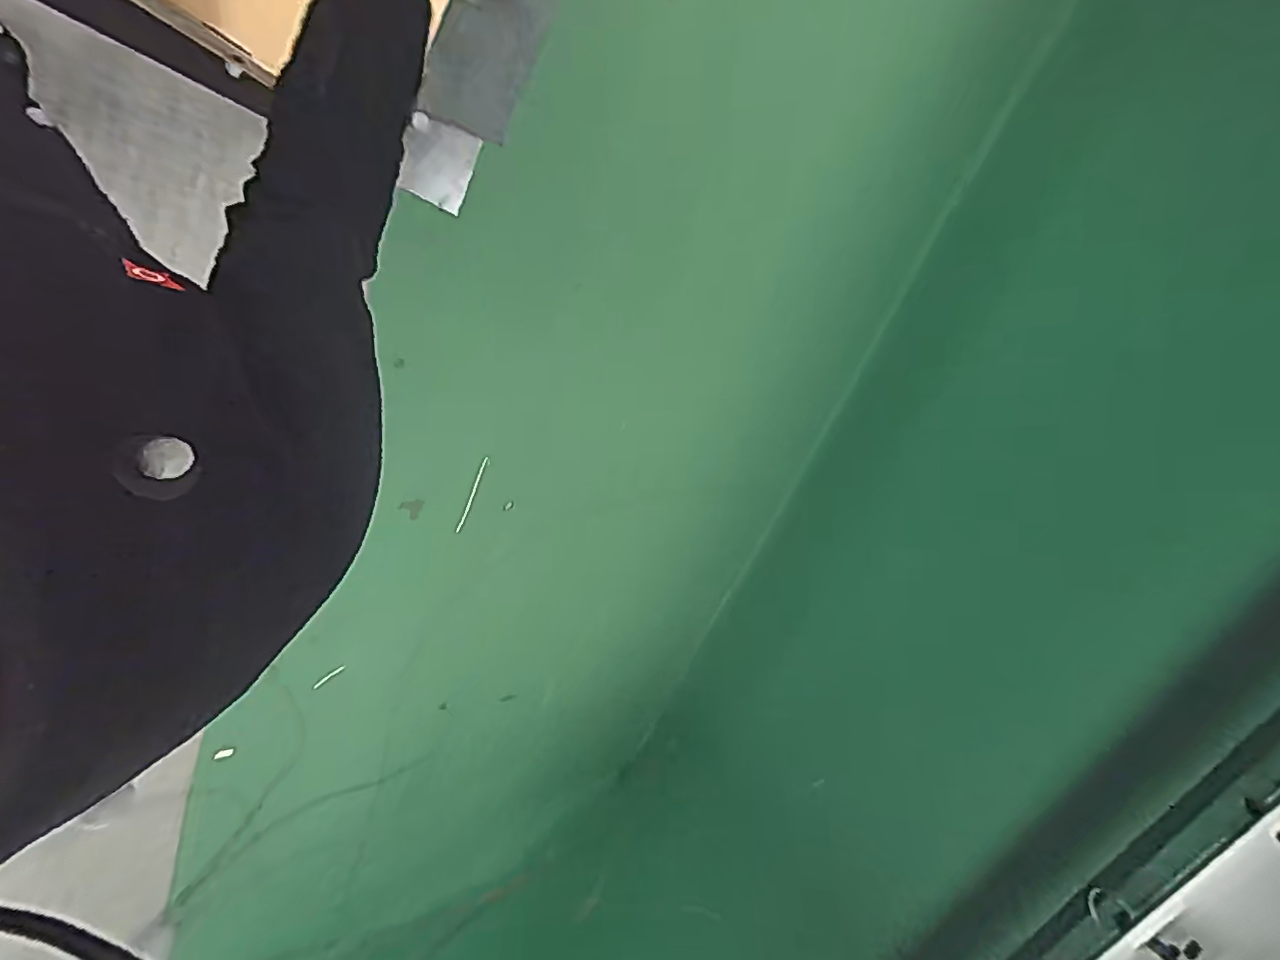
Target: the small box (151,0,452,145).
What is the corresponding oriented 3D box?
[{"bbox_3d":[-0.280,-0.423,0.445,0.168,0.176,0.179,14,111,-52],"label":"small box"}]
